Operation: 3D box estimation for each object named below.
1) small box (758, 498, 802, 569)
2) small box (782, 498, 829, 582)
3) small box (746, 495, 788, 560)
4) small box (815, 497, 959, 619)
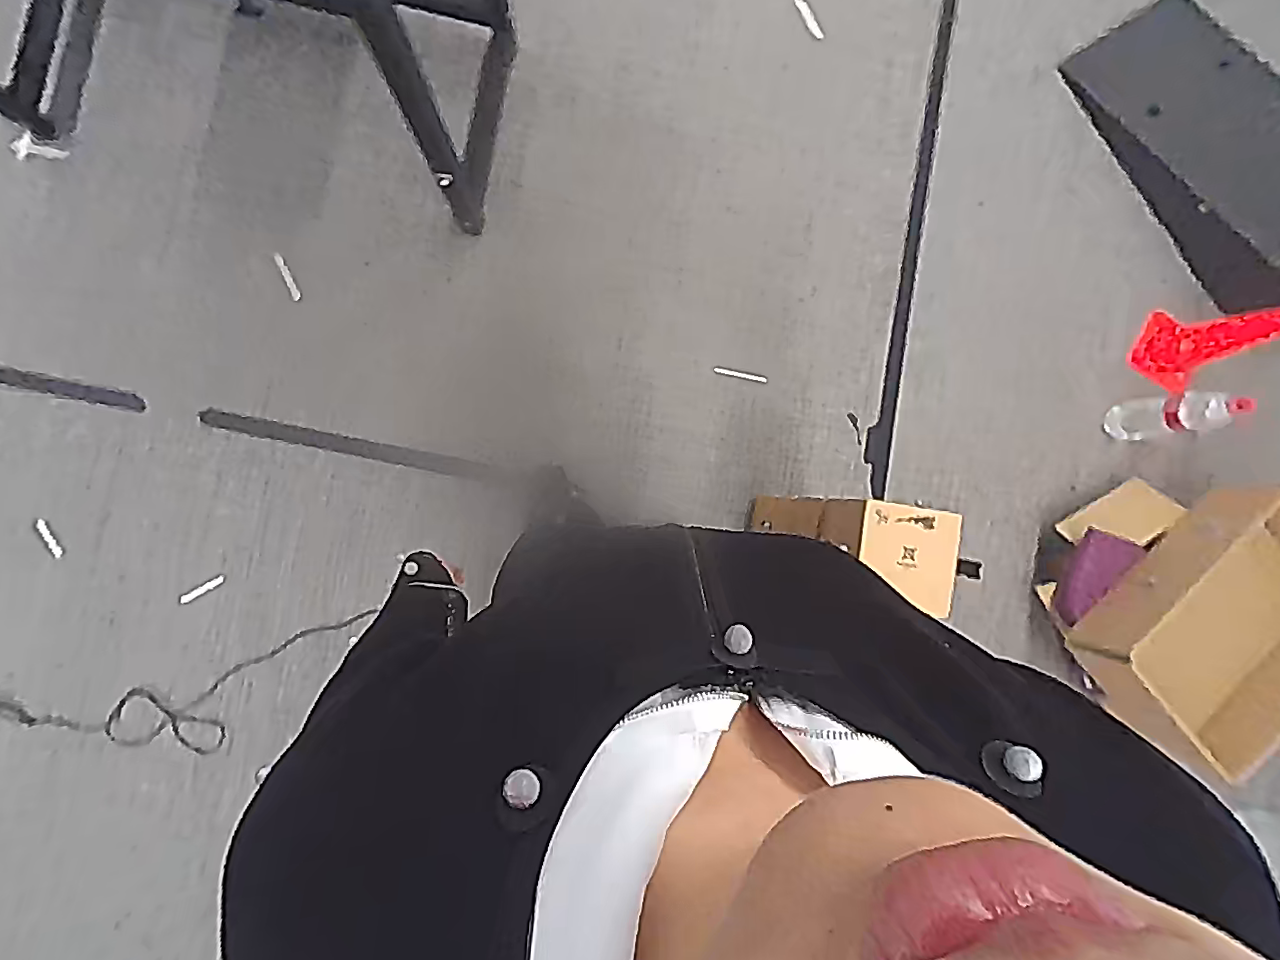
[{"bbox_3d":[0.401,0.137,1.293,0.179,0.176,0.168,11,87,-3],"label":"small box"},{"bbox_3d":[0.414,0.133,1.132,0.179,0.176,0.168,10,88,-5],"label":"small box"},{"bbox_3d":[0.394,0.141,1.457,0.168,0.176,0.179,11,87,-3],"label":"small box"},{"bbox_3d":[0.430,0.131,0.968,0.168,0.176,0.179,10,89,-4],"label":"small box"}]
